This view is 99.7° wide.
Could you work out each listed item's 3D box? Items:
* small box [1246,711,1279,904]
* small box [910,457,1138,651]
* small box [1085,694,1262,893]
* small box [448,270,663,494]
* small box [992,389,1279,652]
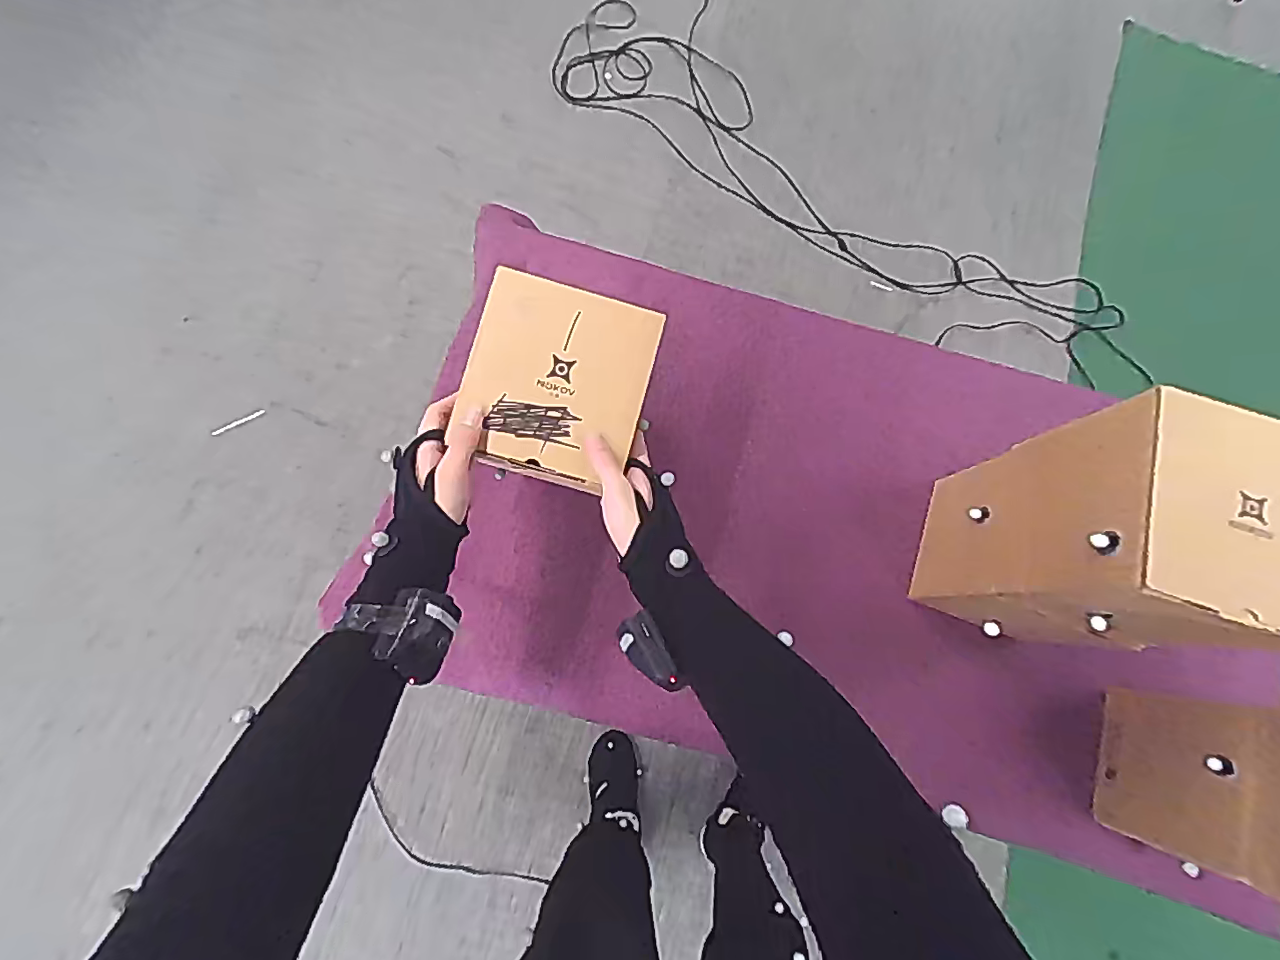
[{"bbox_3d":[0.675,0.313,0.450,0.168,0.176,0.179,20,76,3],"label":"small box"},{"bbox_3d":[0.462,0.090,0.659,0.168,0.176,0.179,21,77,2],"label":"small box"},{"bbox_3d":[0.663,0.356,0.607,0.179,0.176,0.168,20,75,1],"label":"small box"},{"bbox_3d":[-0.083,-0.088,0.587,0.168,0.176,0.179,16,83,-3],"label":"small box"},{"bbox_3d":[0.467,0.046,0.503,0.168,0.176,0.179,18,77,0],"label":"small box"}]
